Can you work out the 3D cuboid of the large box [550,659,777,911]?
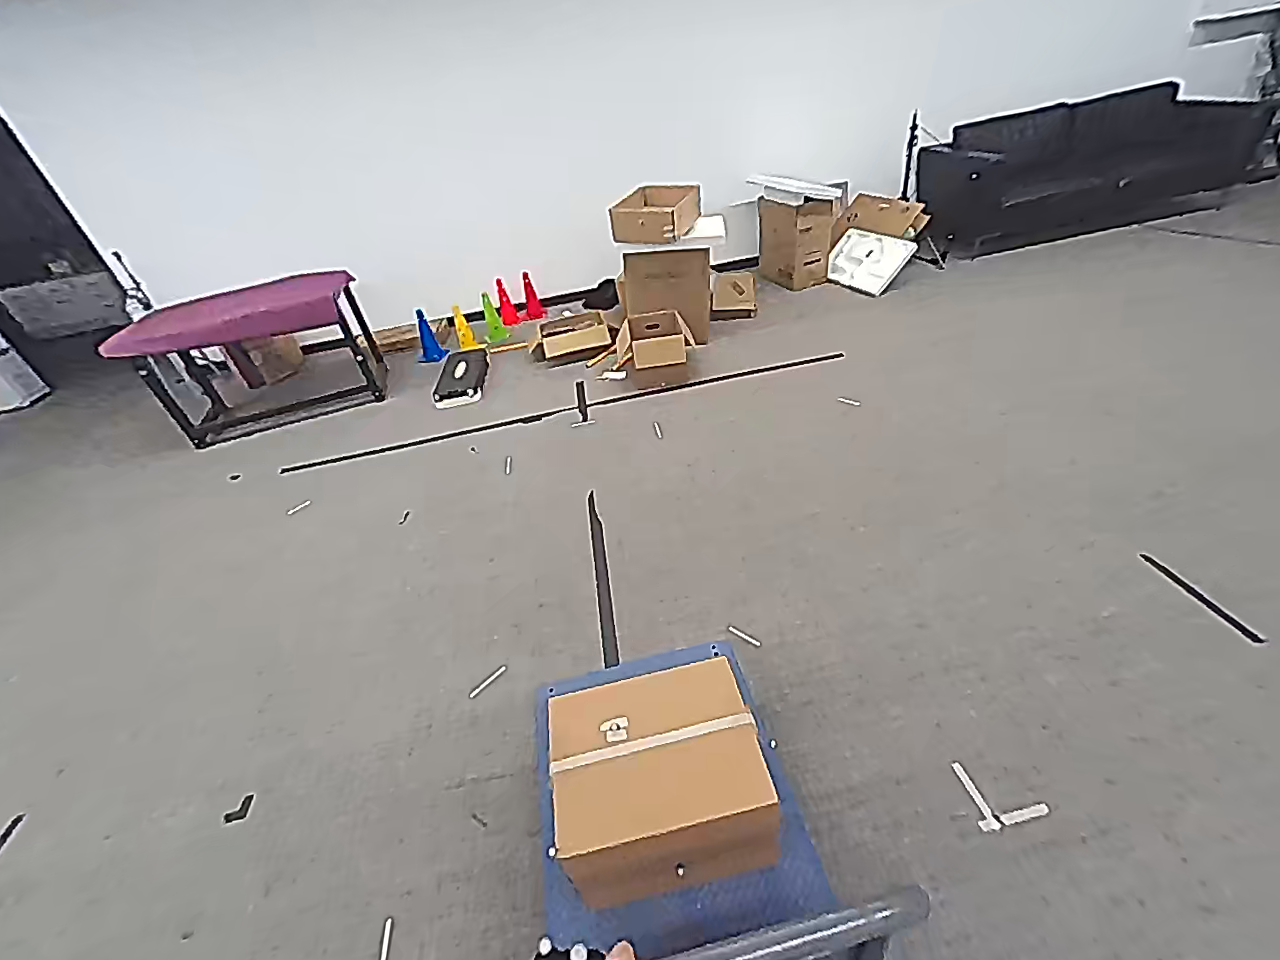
[{"bbox_3d":[0.048,0.650,1.164,0.408,0.320,0.320,-14,36,-3],"label":"large box"}]
